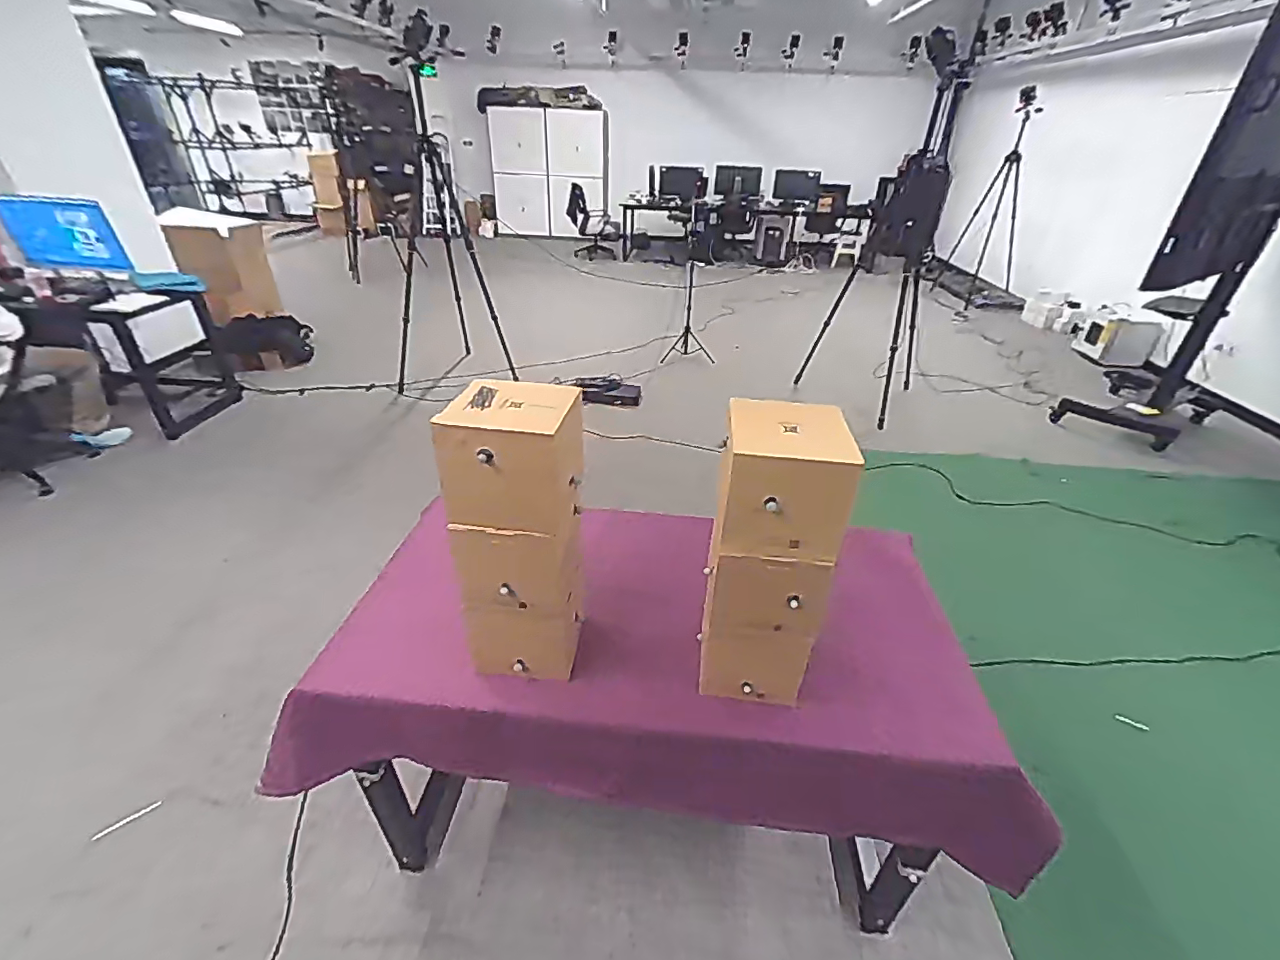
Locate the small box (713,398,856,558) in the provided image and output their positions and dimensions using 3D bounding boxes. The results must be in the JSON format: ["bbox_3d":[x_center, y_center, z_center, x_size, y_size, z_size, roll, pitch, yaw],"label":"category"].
[{"bbox_3d":[0.200,-0.005,0.797,0.168,0.176,0.179,5,33,4],"label":"small box"}]

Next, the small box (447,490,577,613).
[{"bbox_3d":[-0.204,0.096,0.912,0.168,0.176,0.179,5,33,4],"label":"small box"}]

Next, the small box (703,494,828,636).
[{"bbox_3d":[0.195,0.132,0.885,0.168,0.176,0.179,5,33,4],"label":"small box"}]

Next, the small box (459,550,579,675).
[{"bbox_3d":[-0.211,0.238,0.997,0.179,0.176,0.168,5,32,2],"label":"small box"}]

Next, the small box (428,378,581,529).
[{"bbox_3d":[-0.193,-0.043,0.824,0.179,0.176,0.168,6,33,5],"label":"small box"}]
